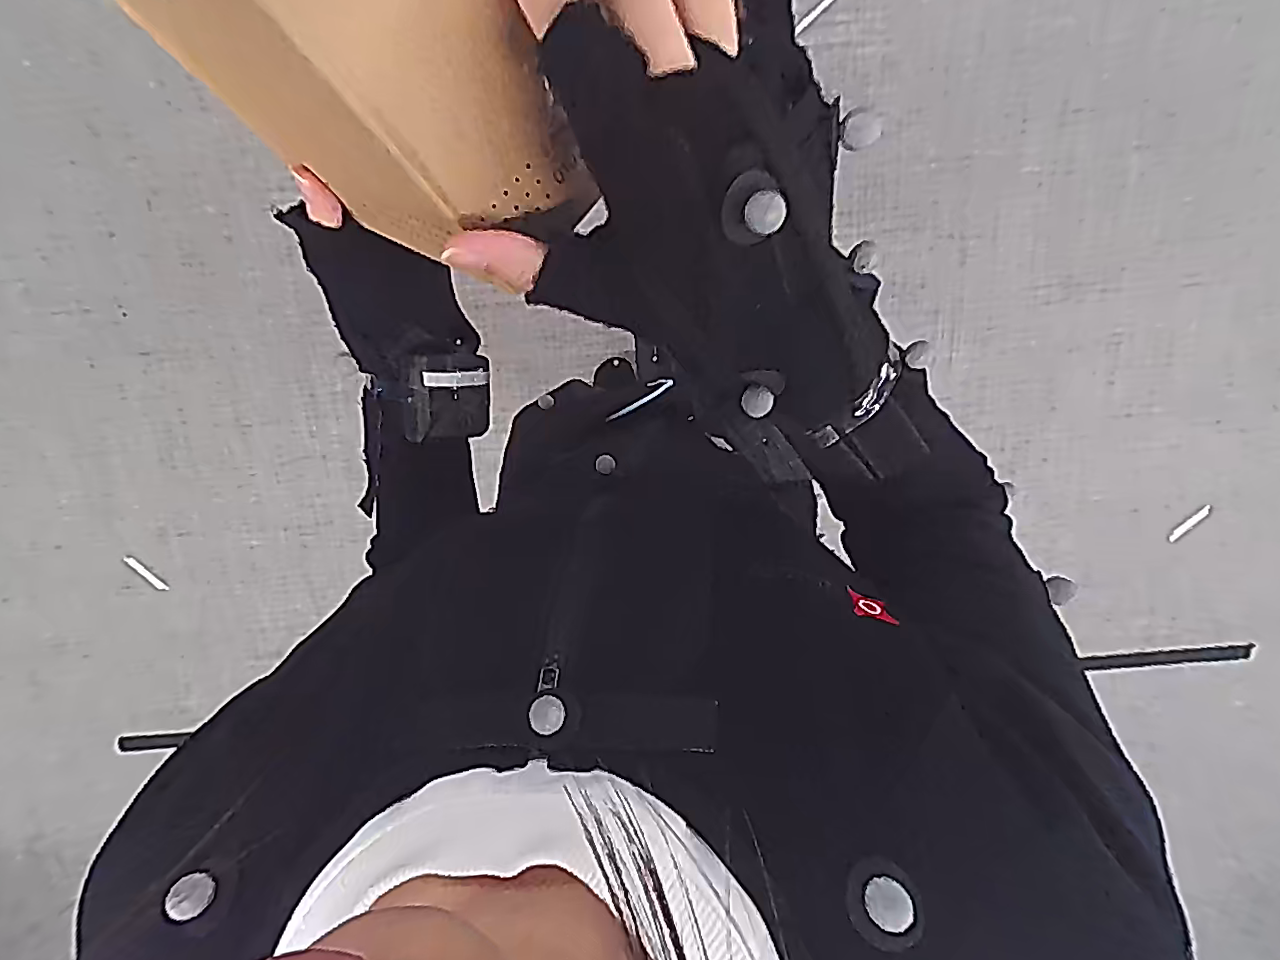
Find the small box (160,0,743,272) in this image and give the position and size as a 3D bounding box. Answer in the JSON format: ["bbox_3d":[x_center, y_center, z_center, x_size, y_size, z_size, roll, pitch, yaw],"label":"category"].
[{"bbox_3d":[-0.087,-0.215,0.221,0.179,0.176,0.168,33,84,35],"label":"small box"}]
